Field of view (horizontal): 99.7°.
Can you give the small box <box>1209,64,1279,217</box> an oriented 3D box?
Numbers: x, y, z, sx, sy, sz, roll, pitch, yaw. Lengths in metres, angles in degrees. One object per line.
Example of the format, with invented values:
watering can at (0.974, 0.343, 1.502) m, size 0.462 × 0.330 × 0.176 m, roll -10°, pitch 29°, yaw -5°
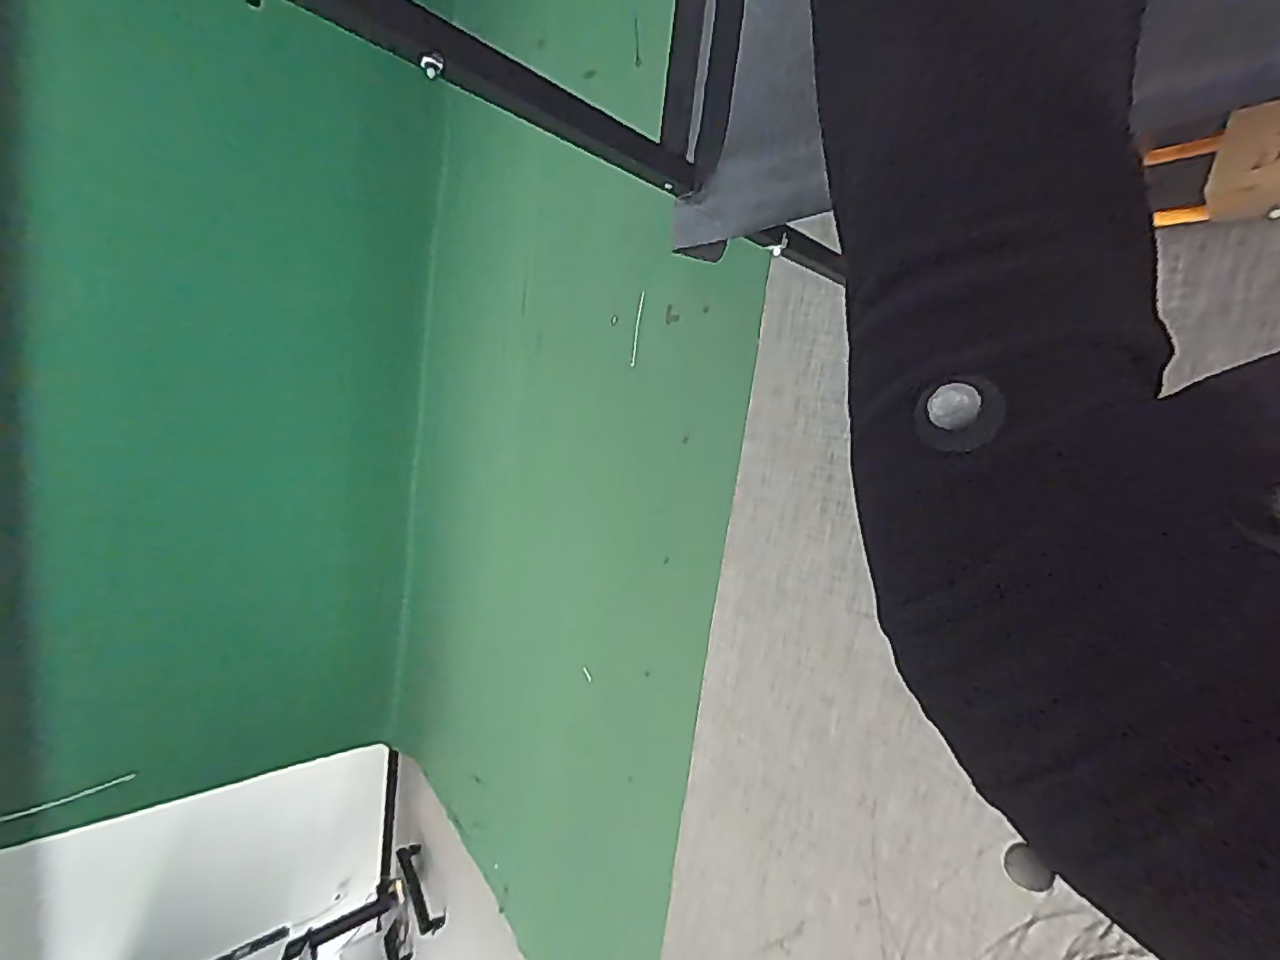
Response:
small box at (1.058, -0.543, 0.864) m, size 0.168 × 0.176 × 0.179 m, roll 22°, pitch 108°, yaw 47°
